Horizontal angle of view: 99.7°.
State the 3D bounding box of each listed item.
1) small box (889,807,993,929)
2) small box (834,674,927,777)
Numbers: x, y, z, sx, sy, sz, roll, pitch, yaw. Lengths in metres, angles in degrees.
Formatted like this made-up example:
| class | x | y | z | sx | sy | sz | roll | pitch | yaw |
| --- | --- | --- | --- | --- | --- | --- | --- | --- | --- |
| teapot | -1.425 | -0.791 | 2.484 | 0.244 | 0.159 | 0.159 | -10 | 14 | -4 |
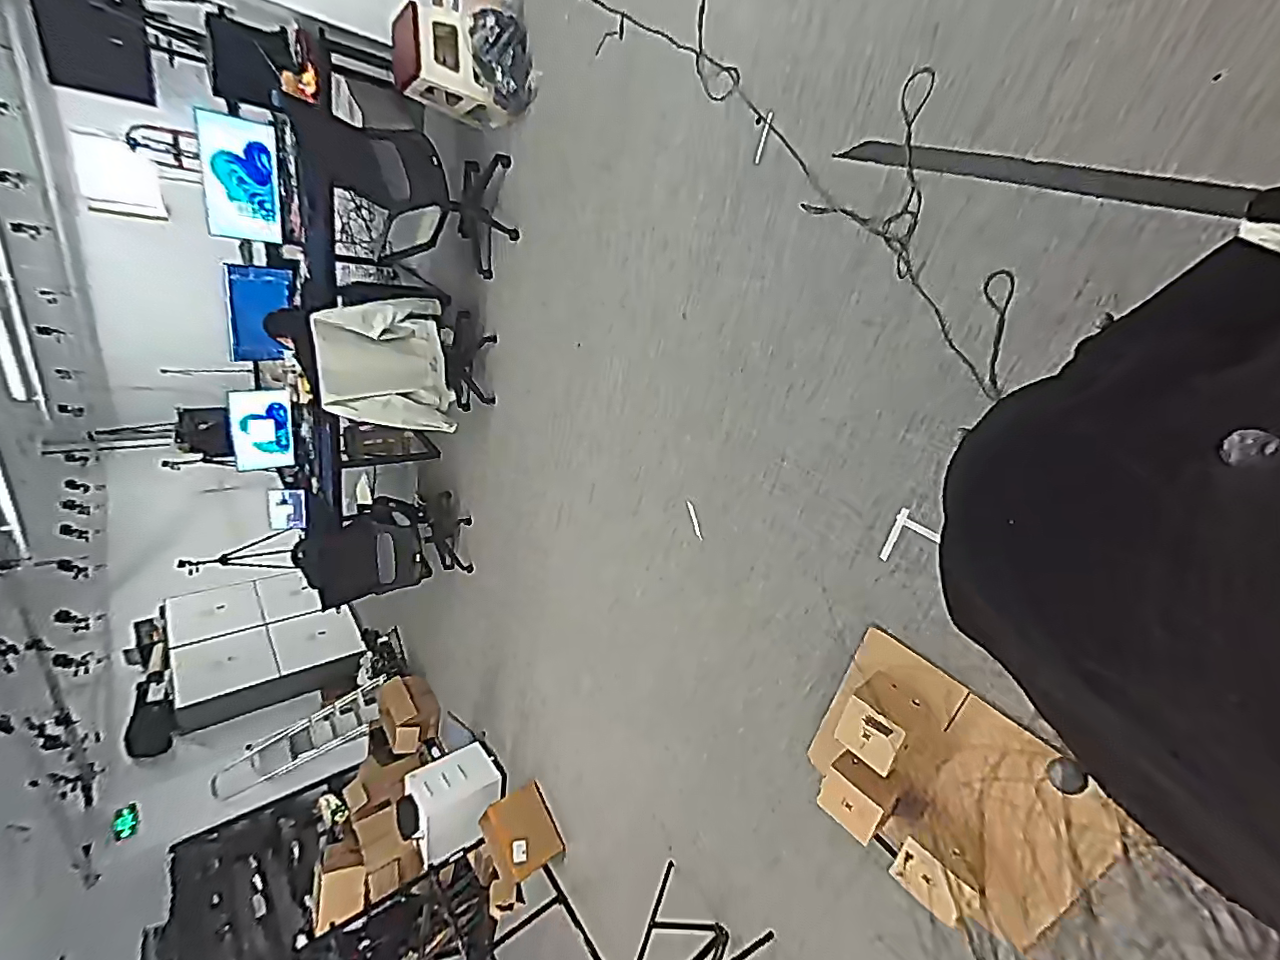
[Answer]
| class | x | y | z | sx | sy | sz | roll | pitch | yaw |
| --- | --- | --- | --- | --- | --- | --- | --- | --- | --- |
| small box | 0.825 | 1.048 | 1.477 | 0.179 | 0.176 | 0.168 | 31 | 120 | 40 |
| small box | 0.696 | 0.695 | 1.554 | 0.168 | 0.176 | 0.179 | 32 | 122 | 41 |
